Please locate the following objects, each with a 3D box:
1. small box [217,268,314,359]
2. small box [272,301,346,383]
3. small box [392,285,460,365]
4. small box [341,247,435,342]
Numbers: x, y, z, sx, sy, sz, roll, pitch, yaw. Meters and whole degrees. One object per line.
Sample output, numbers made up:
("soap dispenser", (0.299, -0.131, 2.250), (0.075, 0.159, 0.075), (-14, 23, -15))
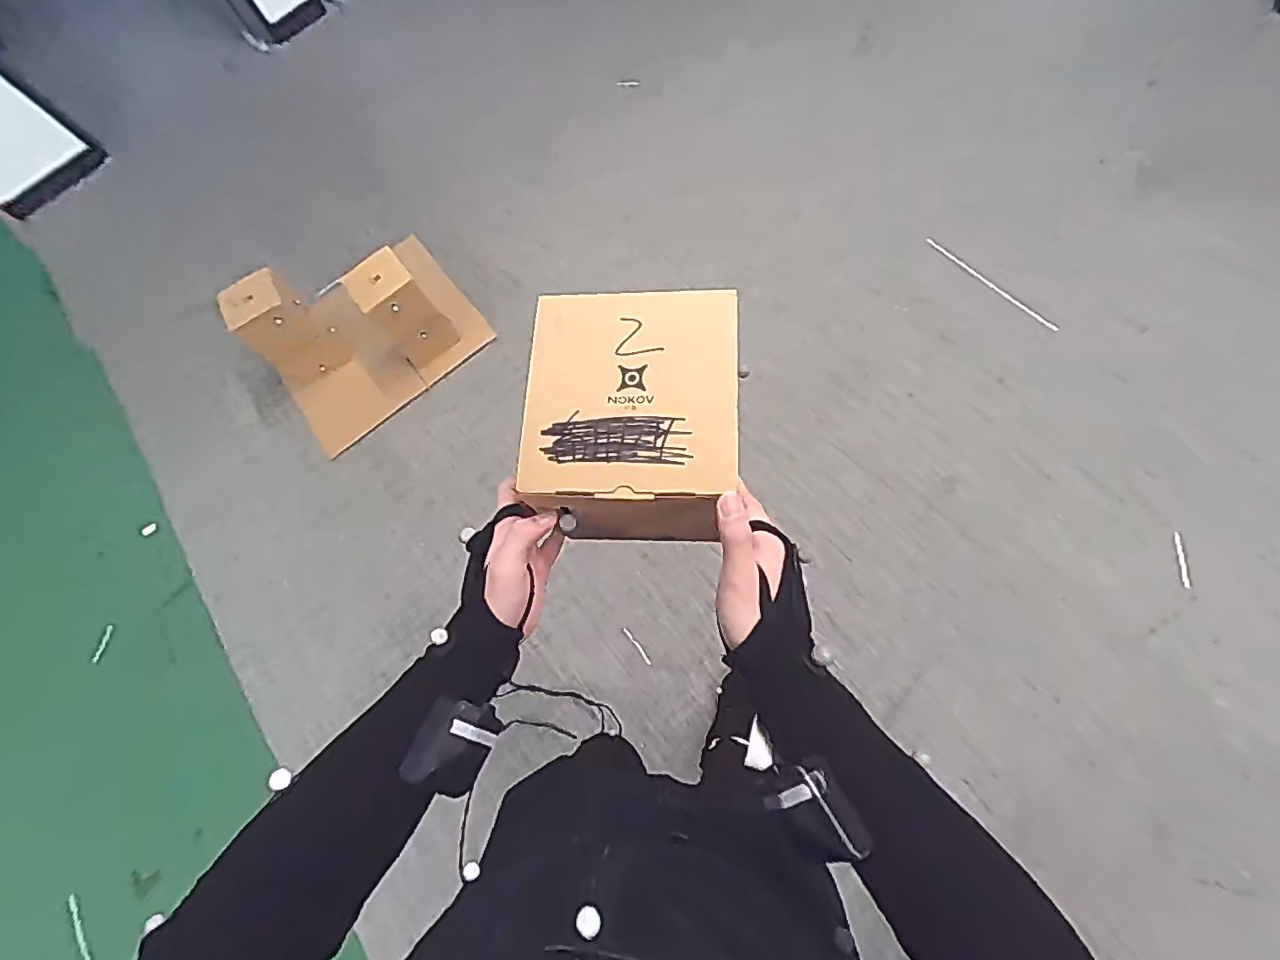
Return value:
("small box", (-1.156, -0.515, 1.687), (0.179, 0.176, 0.168), (-31, 70, -2))
("small box", (-1.140, -0.467, 1.846), (0.179, 0.176, 0.168), (-31, 70, -3))
("small box", (-0.739, -0.518, 1.806), (0.179, 0.176, 0.168), (-38, 71, -4))
("small box", (-0.758, -0.561, 1.652), (0.179, 0.176, 0.168), (-39, 72, -4))
